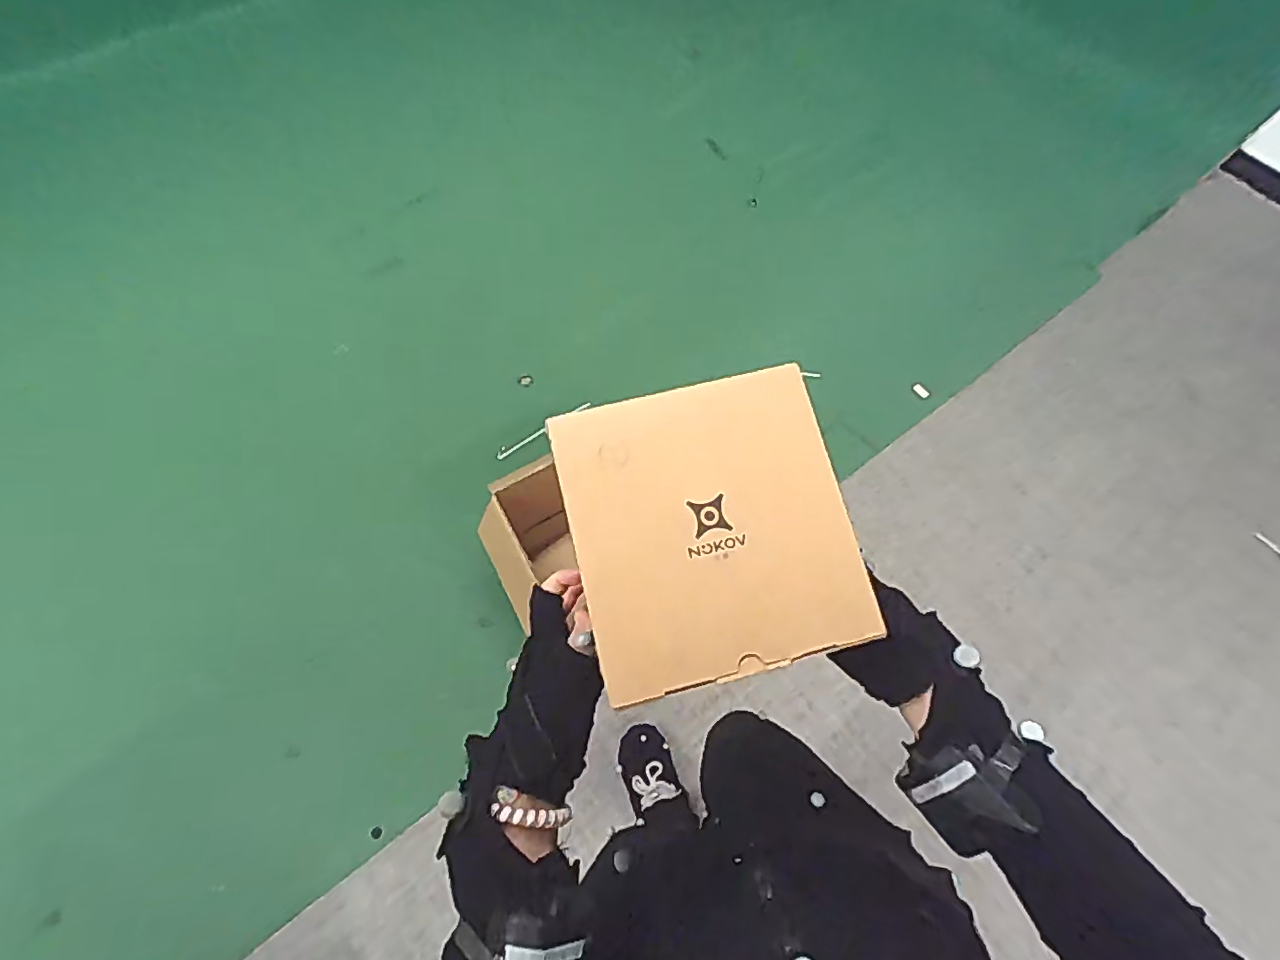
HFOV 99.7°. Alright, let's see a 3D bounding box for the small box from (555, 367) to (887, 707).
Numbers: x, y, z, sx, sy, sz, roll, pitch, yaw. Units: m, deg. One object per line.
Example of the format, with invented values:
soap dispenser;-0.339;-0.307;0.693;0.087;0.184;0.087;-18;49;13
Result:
small box;0.040;0.043;0.398;0.168;0.176;0.179;-14;79;-6
